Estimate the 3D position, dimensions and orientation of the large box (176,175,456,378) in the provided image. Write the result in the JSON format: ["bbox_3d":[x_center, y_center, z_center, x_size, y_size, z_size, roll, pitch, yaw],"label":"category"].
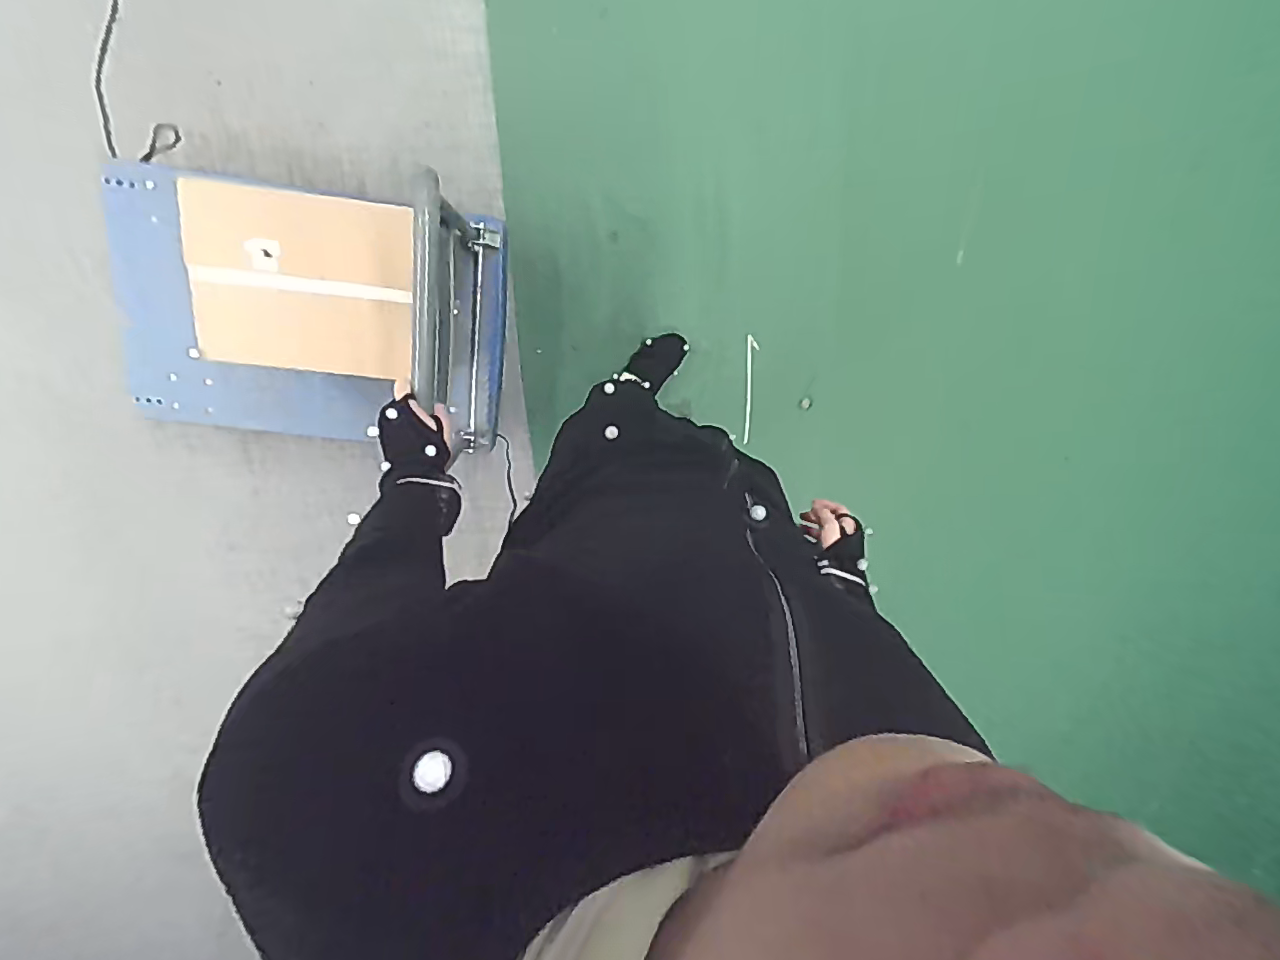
[{"bbox_3d":[-0.622,-0.405,1.125,0.408,0.320,0.320,6,106,-6],"label":"large box"}]
